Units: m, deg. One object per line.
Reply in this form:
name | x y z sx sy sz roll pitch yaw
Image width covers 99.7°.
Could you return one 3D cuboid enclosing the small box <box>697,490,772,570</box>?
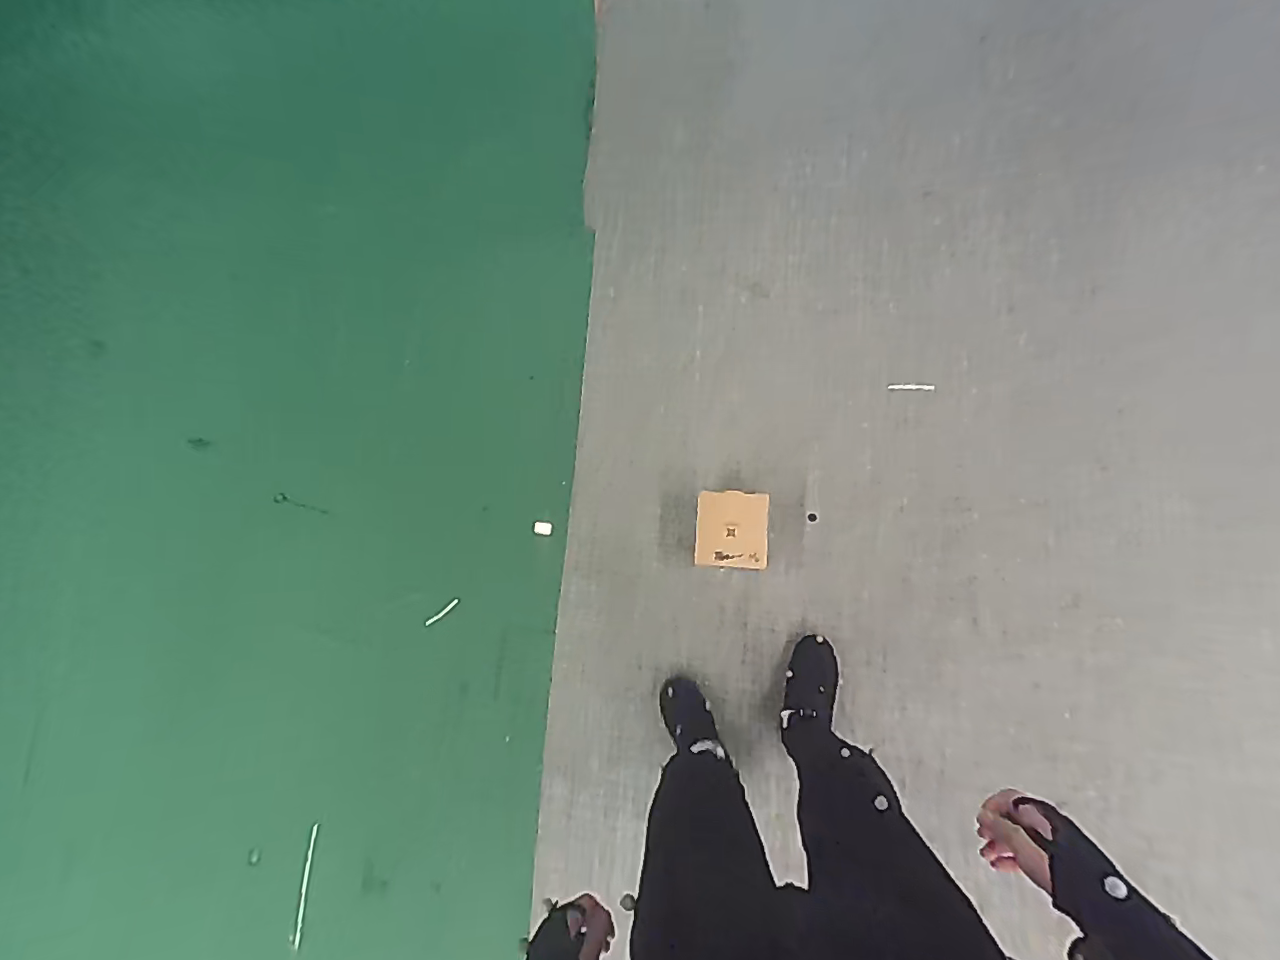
small box | 0.234 0.126 1.328 0.168 0.176 0.179 3 81 13
